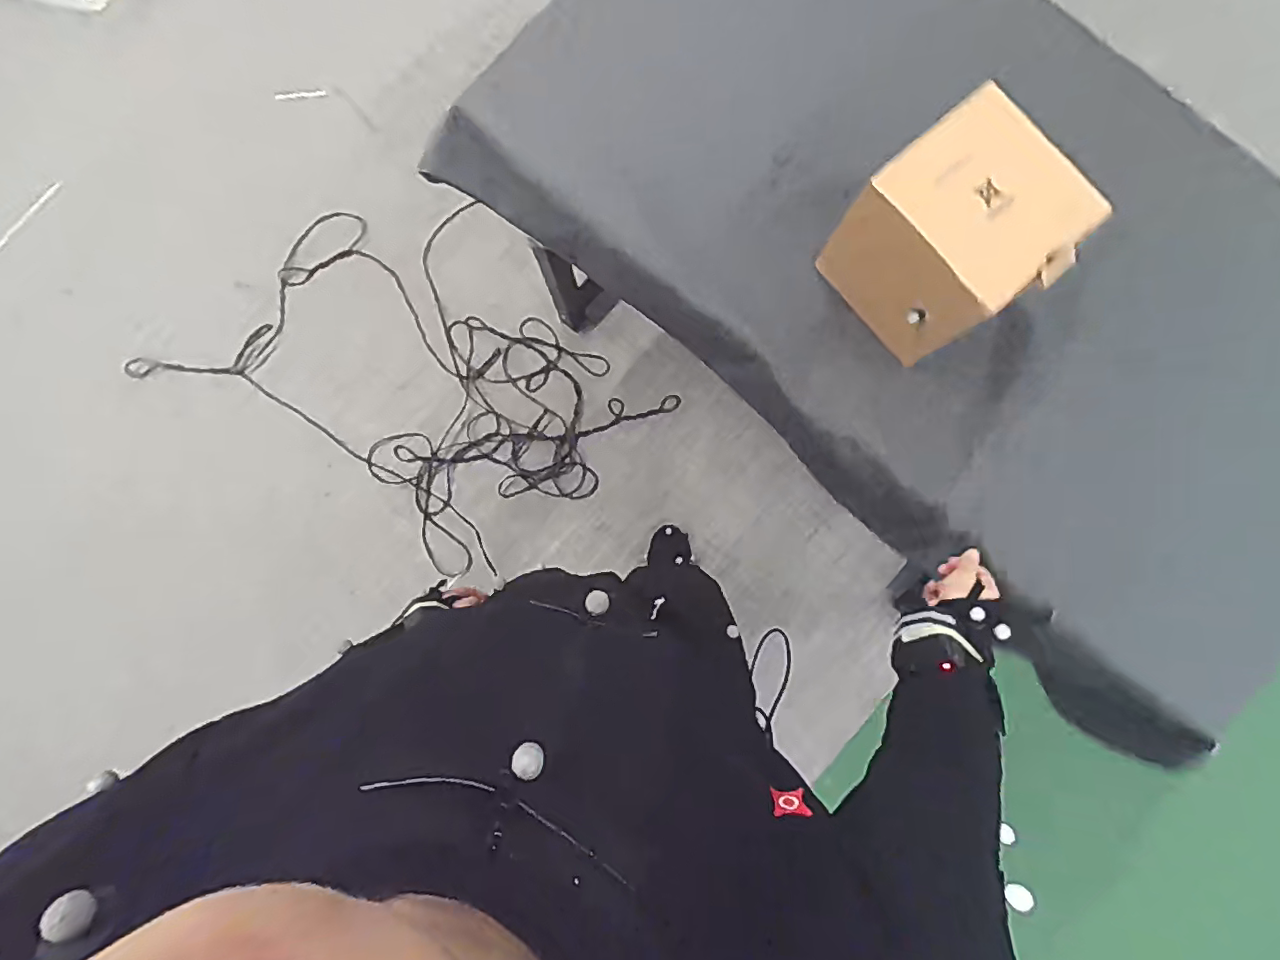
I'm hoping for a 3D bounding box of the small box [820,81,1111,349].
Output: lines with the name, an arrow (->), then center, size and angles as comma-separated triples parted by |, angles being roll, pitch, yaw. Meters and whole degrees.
small box -> 0.337, -0.268, 0.598 | 0.168, 0.176, 0.179 | -41, 86, -4
